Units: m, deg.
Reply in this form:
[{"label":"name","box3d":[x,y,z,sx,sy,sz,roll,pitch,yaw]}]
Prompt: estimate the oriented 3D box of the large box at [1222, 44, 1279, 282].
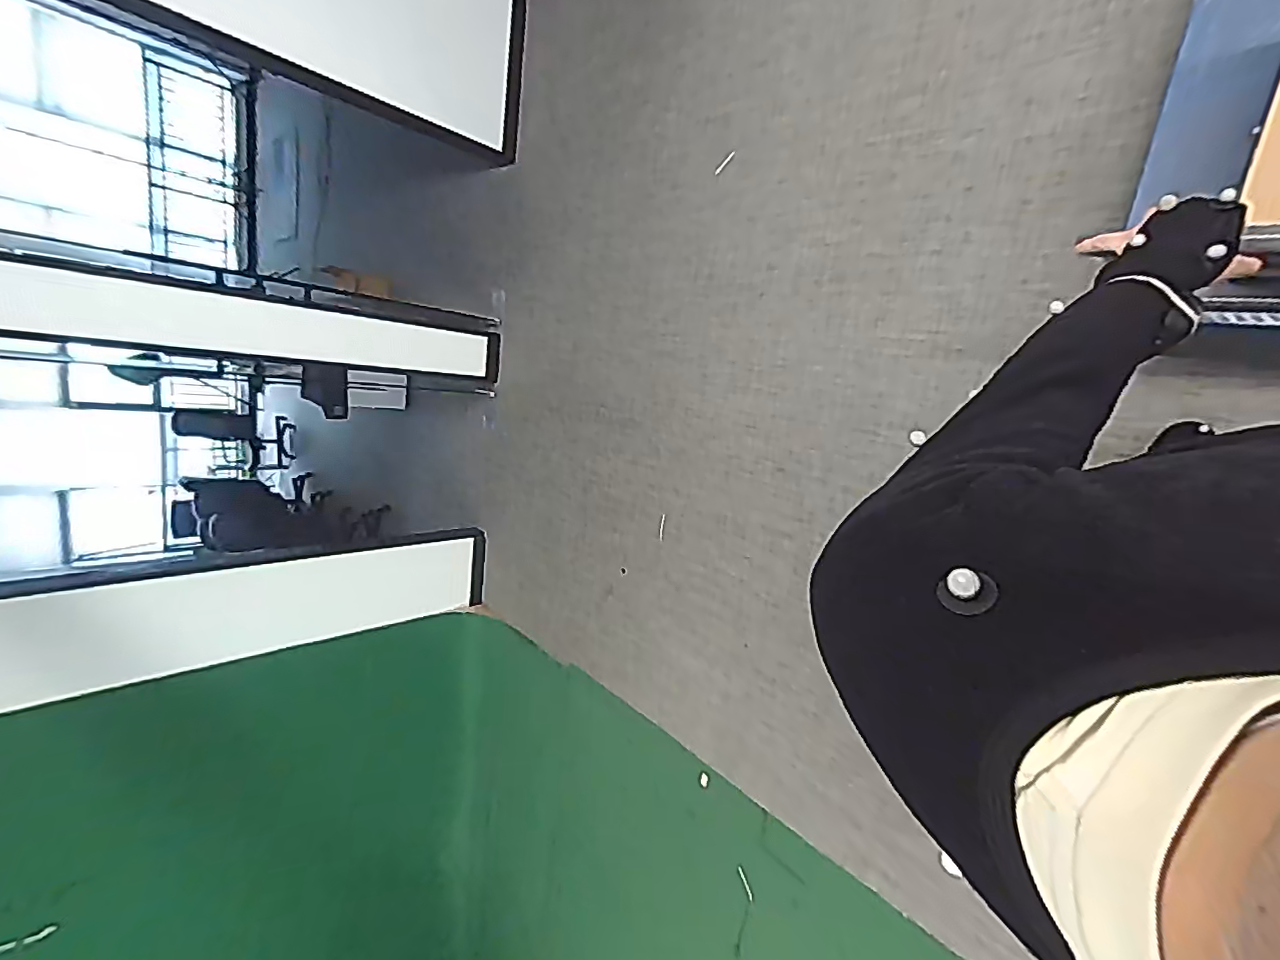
[{"label":"large box","box3d":[1.113,-0.529,0.773,0.320,0.320,0.408,18,104,43]}]
